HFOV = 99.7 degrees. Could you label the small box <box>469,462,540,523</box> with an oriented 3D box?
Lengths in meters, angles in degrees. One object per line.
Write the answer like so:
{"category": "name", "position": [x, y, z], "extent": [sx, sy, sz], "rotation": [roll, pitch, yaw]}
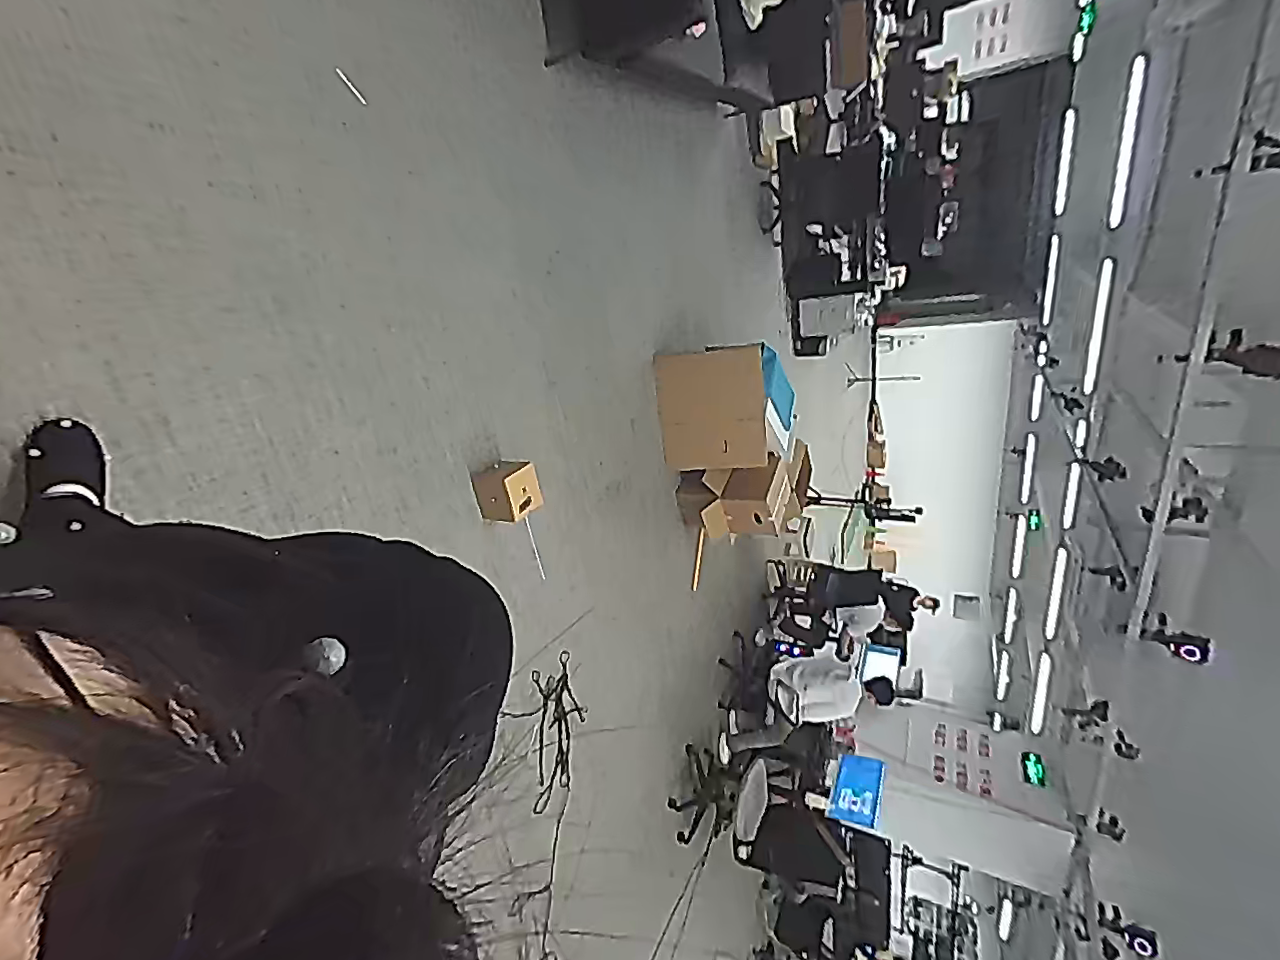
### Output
{"category": "small box", "position": [-0.504, 0.042, 2.013], "extent": [0.168, 0.176, 0.179], "rotation": [-42, 127, -52]}
